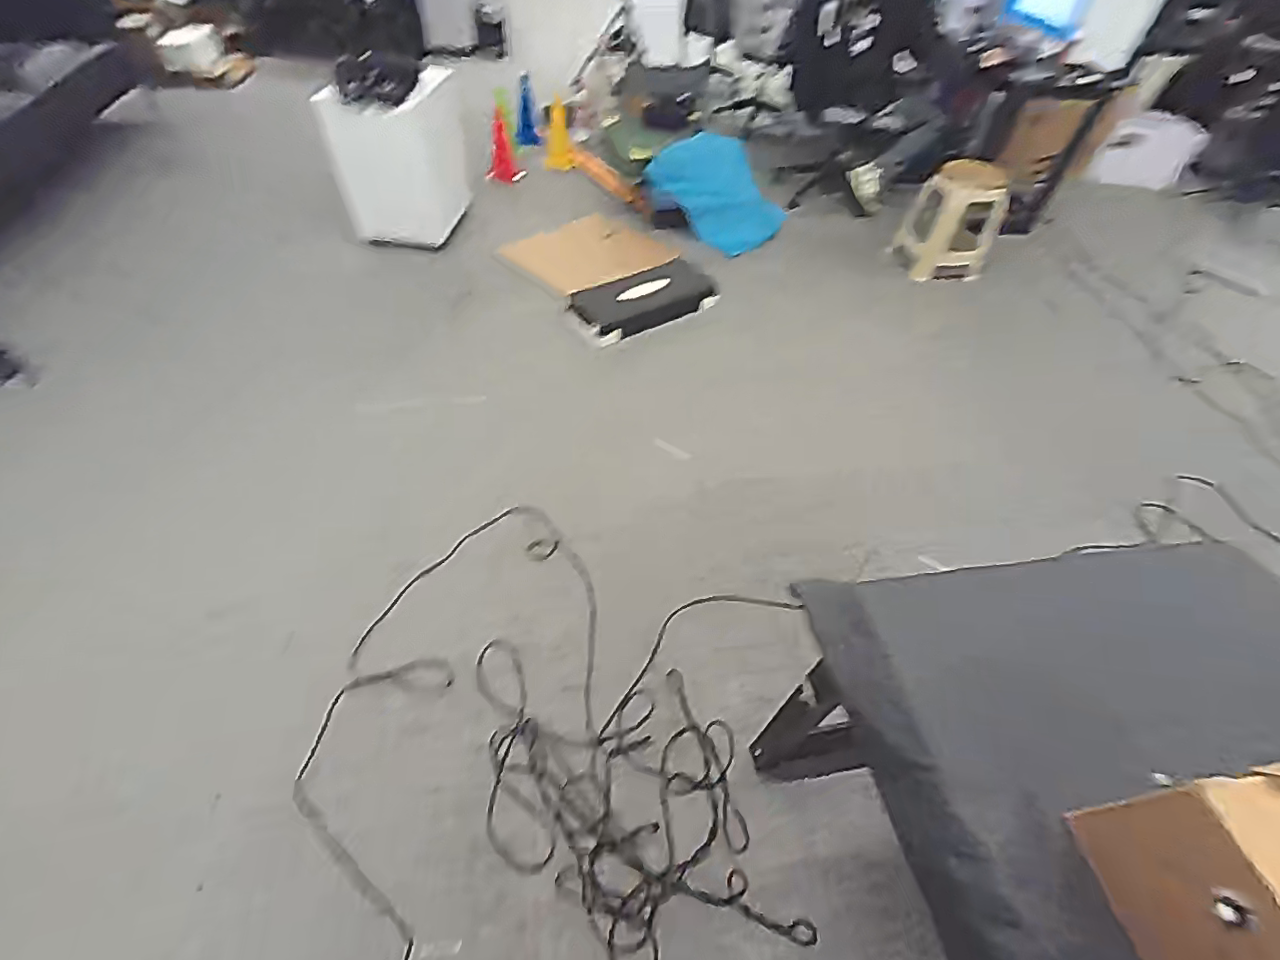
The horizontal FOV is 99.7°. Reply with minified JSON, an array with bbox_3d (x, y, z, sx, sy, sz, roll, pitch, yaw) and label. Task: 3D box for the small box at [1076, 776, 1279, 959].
[{"bbox_3d":[0.529,0.360,0.448,0.168,0.176,0.179,-3,51,-8],"label":"small box"}]
